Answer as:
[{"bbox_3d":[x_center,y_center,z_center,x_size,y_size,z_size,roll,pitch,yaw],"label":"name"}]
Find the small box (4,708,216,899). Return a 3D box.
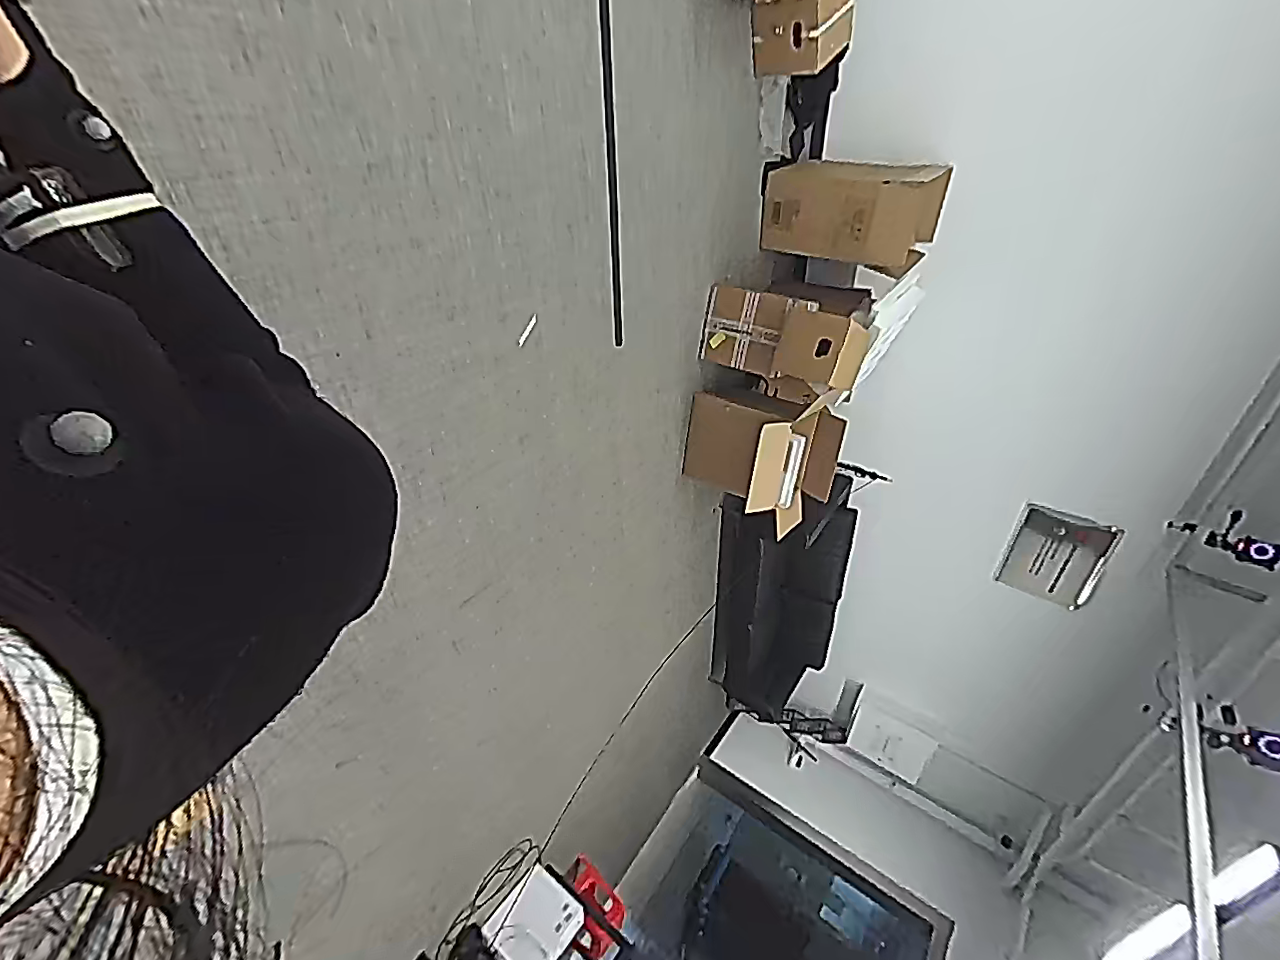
[{"bbox_3d":[-0.829,0.494,0.852,0.168,0.176,0.179,-37,139,-43],"label":"small box"}]
